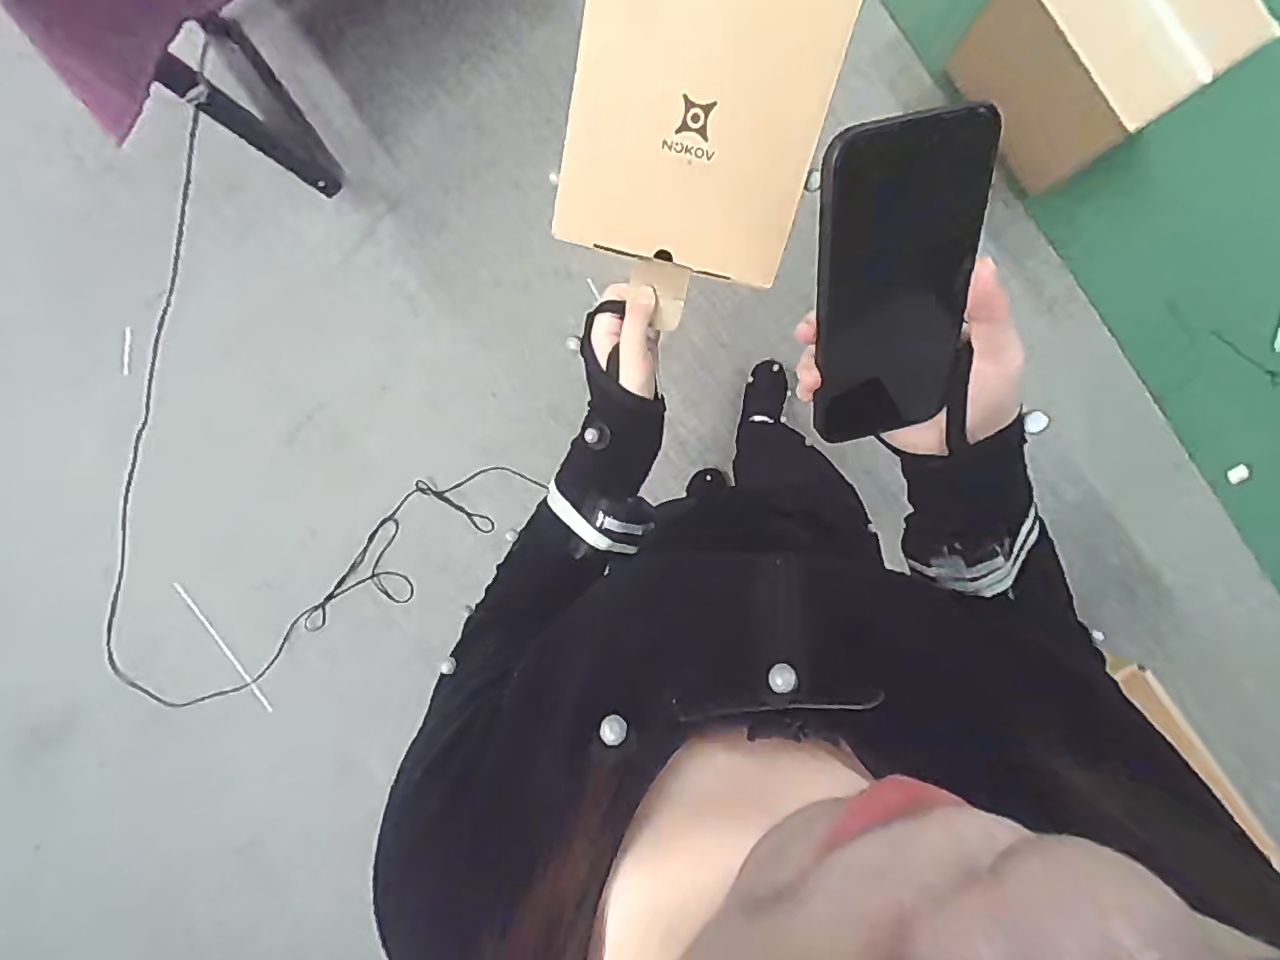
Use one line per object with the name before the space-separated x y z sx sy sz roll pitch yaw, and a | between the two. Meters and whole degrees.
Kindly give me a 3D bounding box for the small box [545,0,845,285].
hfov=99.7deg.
small box | 0.034 -0.268 0.429 0.168 0.176 0.179 13 115 0
